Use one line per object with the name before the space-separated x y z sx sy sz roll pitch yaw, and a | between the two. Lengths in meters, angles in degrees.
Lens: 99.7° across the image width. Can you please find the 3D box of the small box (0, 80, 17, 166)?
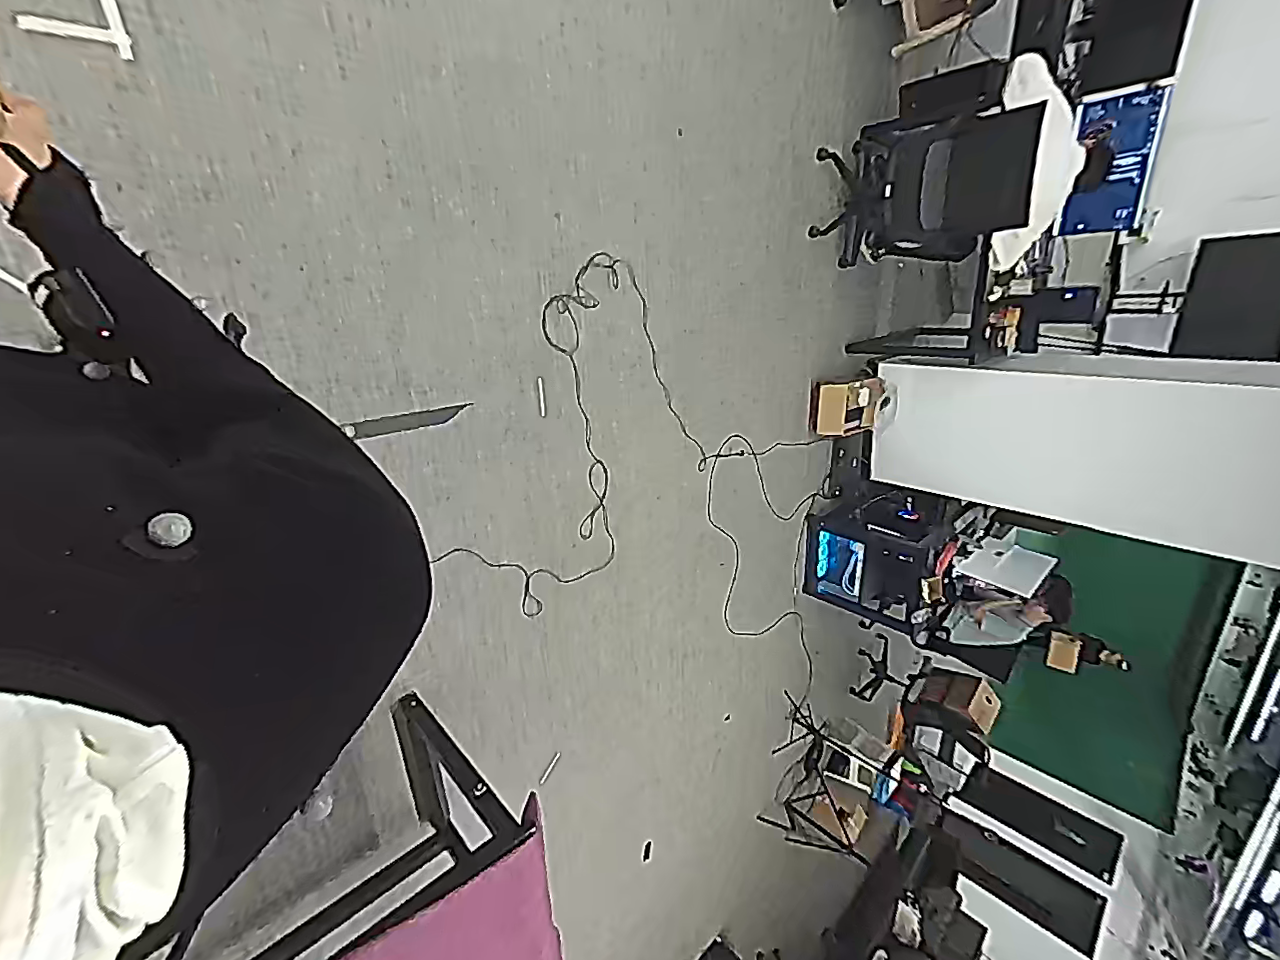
small box | -0.664 -0.351 0.439 0.168 0.176 0.179 -20 106 -57
